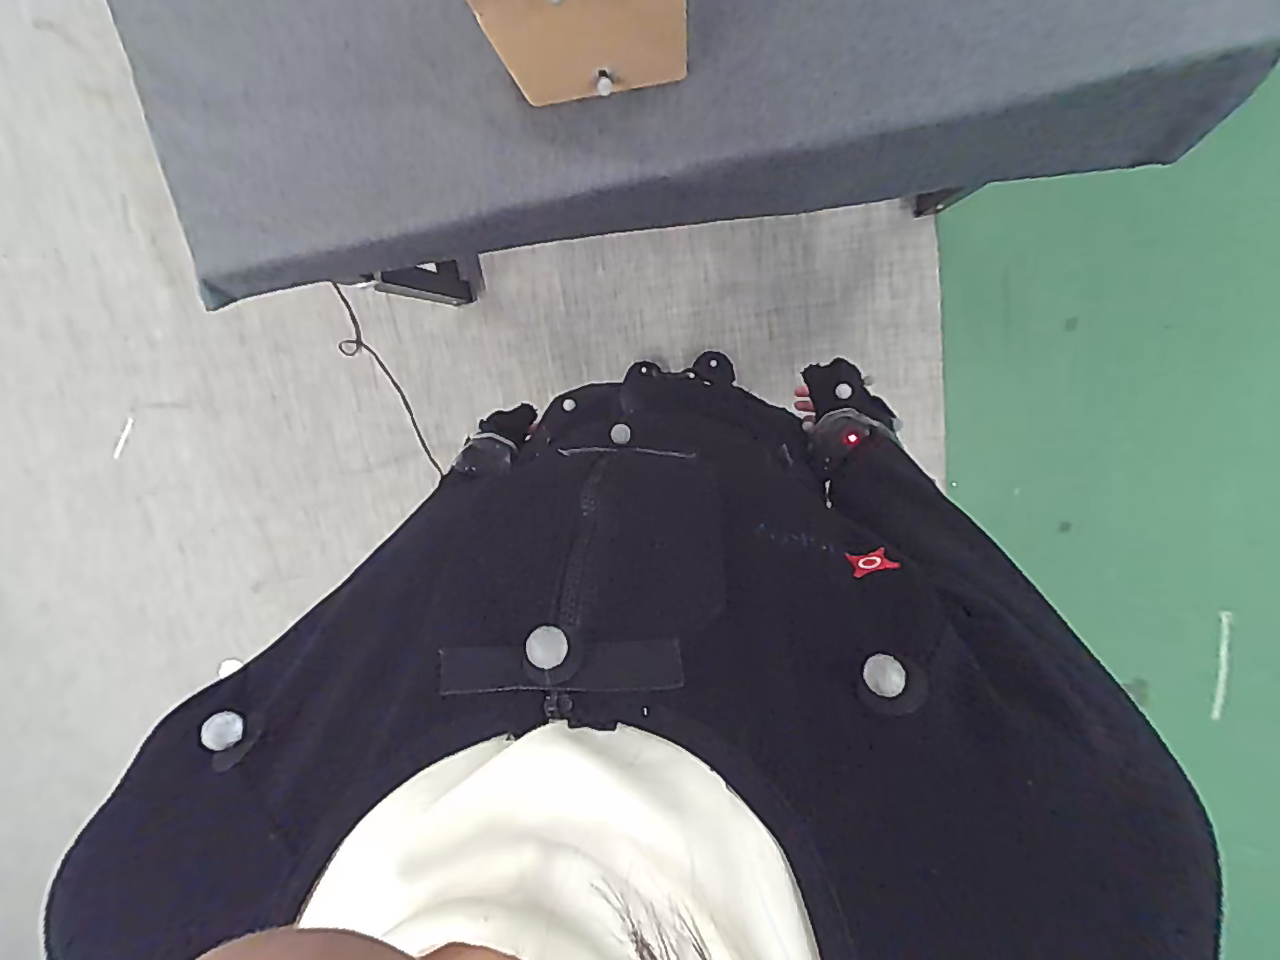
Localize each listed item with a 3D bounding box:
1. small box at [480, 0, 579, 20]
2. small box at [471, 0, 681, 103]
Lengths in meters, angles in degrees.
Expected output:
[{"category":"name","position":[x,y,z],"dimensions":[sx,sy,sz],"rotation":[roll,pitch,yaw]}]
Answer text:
[{"category":"small box","position":[-0.074,-0.455,0.344],"dimensions":[0.168,0.176,0.179],"rotation":[-8,103,9]},{"category":"small box","position":[-0.057,-0.488,0.503],"dimensions":[0.179,0.176,0.168],"rotation":[-6,102,6]}]
